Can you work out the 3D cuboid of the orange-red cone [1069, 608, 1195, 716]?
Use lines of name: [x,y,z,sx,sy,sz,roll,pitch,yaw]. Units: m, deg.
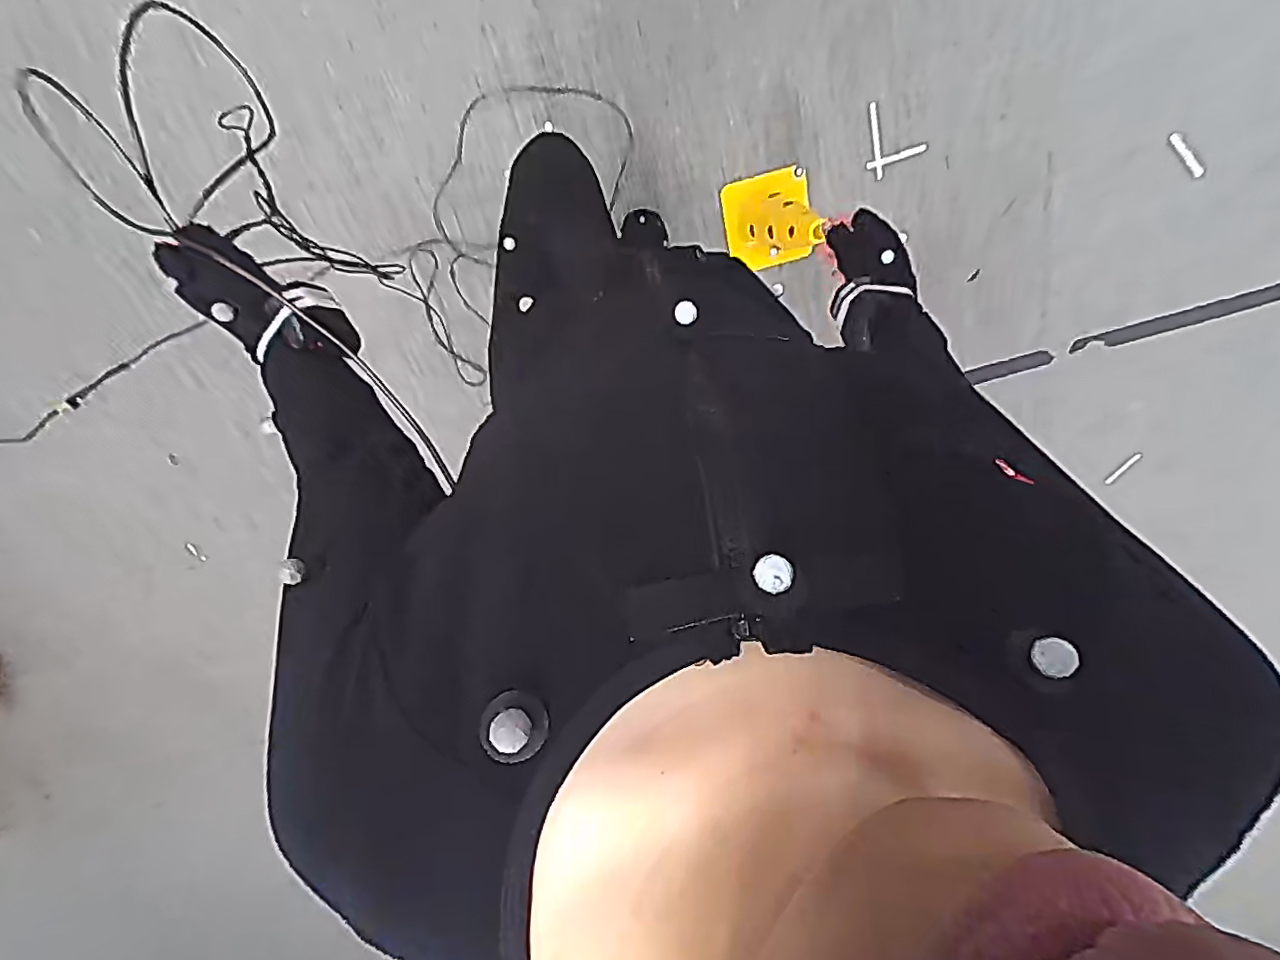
orange-red cone: [1.691,0.638,1.830,0.199,0.360,0.198,-21,118,5]
